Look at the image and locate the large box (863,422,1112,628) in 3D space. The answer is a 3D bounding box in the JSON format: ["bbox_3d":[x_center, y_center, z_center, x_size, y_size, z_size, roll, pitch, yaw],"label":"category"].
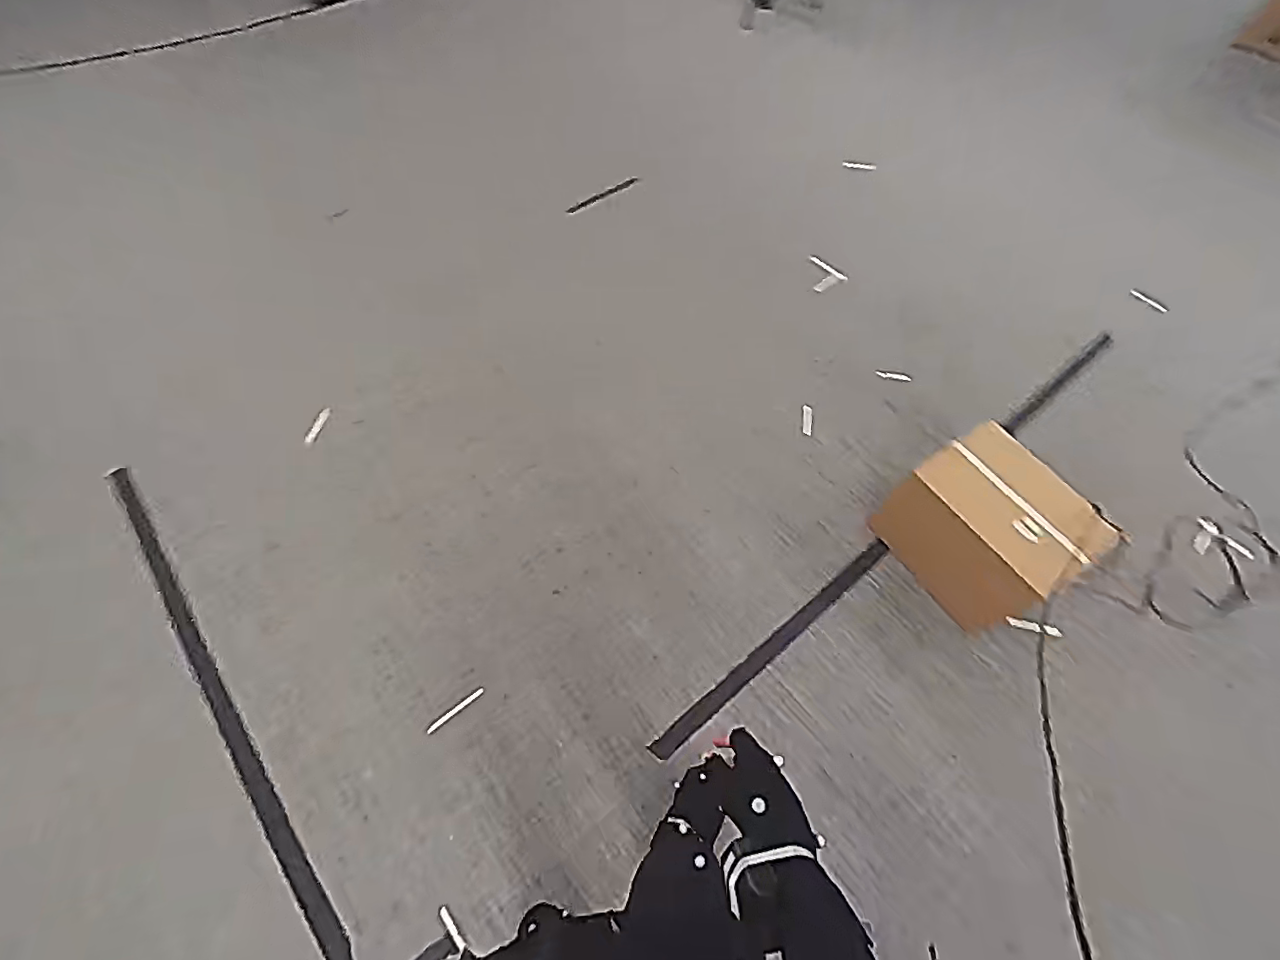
[{"bbox_3d":[0.910,0.124,1.475,0.320,0.320,0.408,-29,66,-17],"label":"large box"}]
